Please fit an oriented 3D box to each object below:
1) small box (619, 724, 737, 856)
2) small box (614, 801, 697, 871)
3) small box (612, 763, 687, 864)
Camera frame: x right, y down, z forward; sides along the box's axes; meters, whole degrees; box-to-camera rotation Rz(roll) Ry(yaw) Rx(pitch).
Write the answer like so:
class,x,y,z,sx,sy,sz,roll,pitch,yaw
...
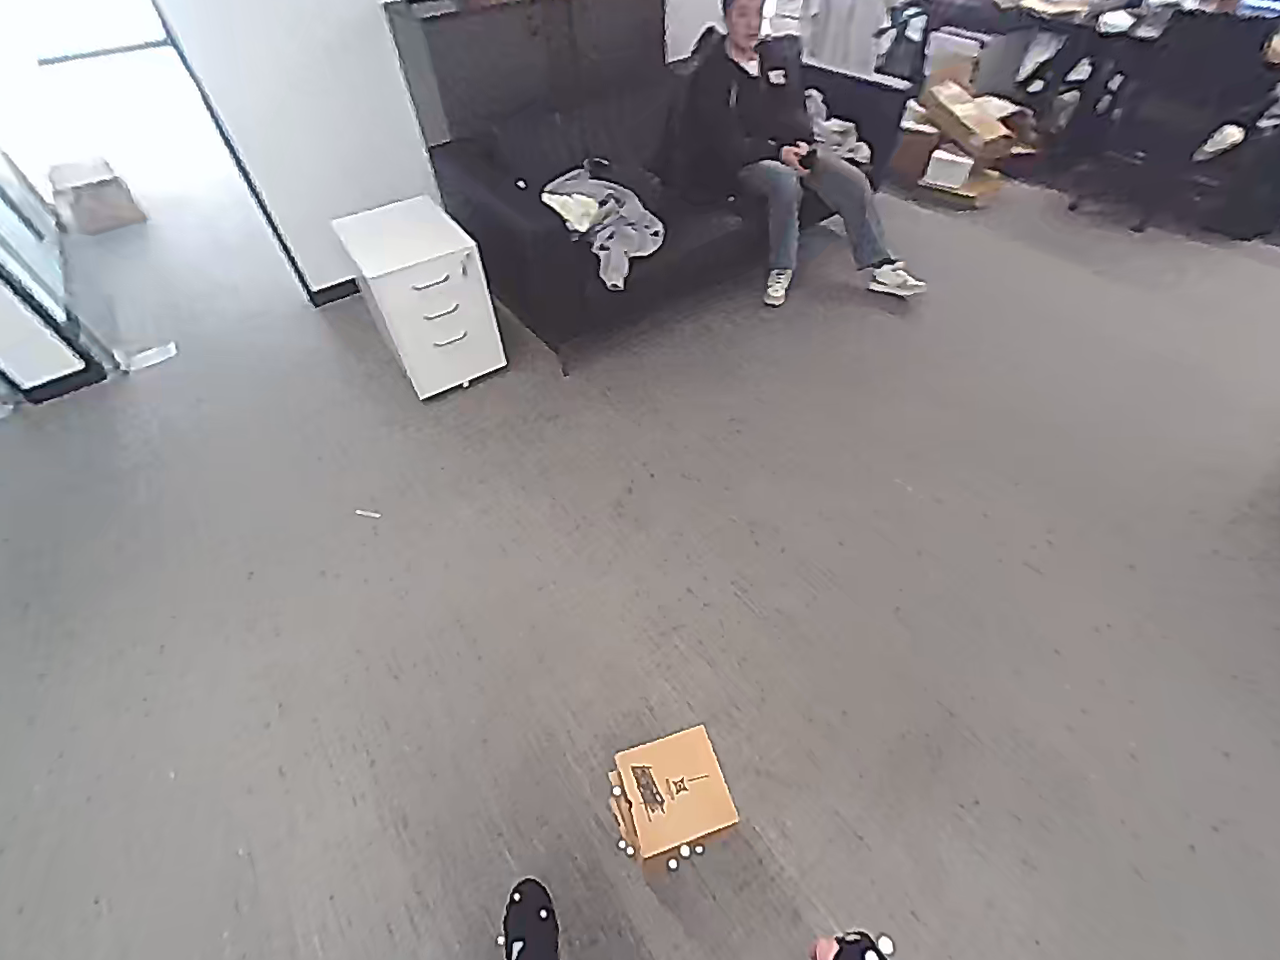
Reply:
class,x,y,z,sx,sy,sz,roll,pitch,yaw
small box,0.066,0.580,1.007,0.179,0.176,0.168,-11,52,-8
small box,0.059,0.775,1.263,0.179,0.176,0.168,22,53,22
small box,0.051,0.679,1.142,0.168,0.176,0.179,-19,50,-15
